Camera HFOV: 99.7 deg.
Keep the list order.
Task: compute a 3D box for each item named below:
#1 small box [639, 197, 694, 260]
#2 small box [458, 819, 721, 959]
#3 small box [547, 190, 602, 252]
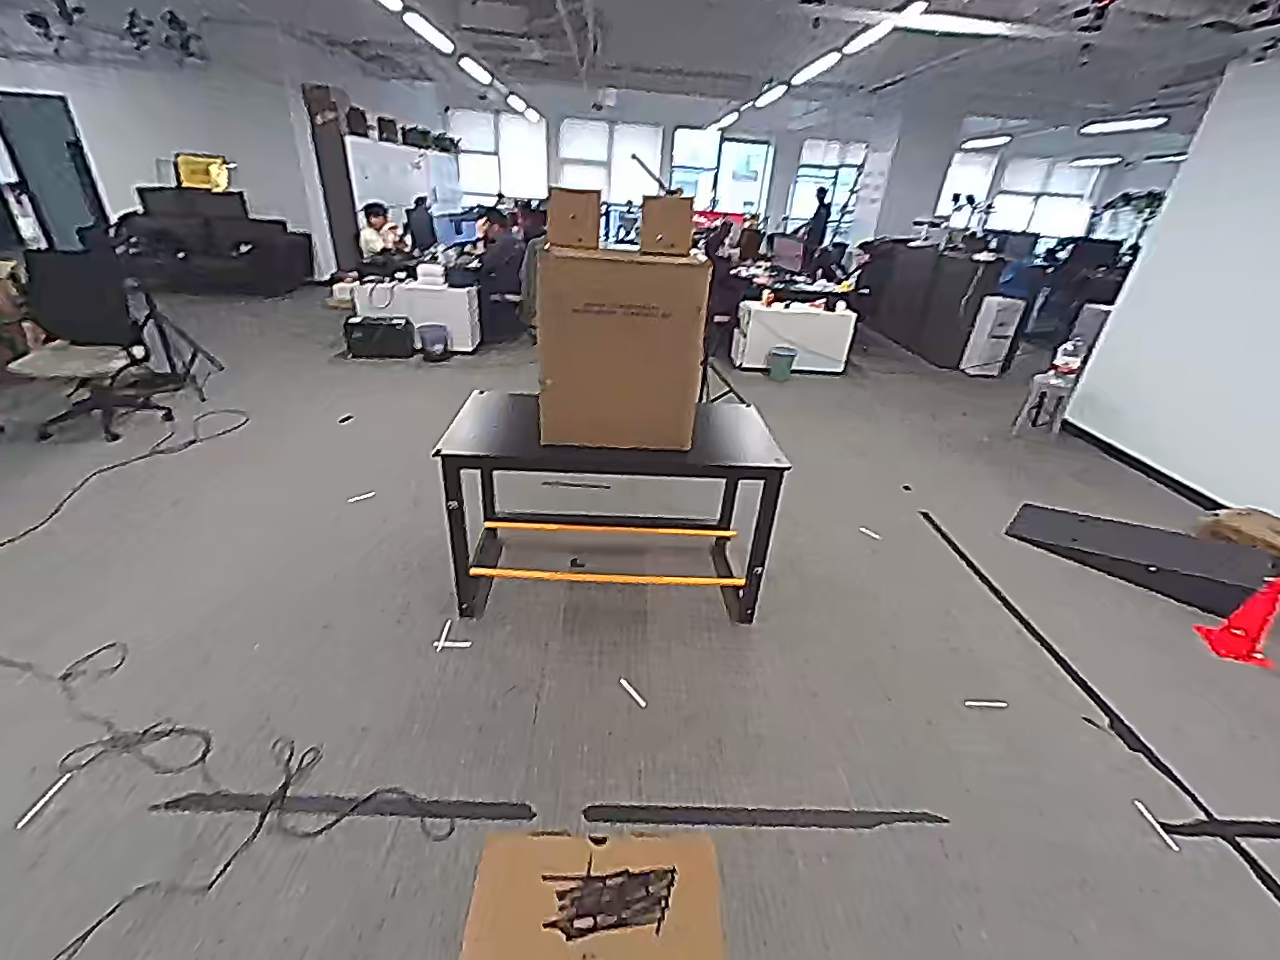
[{"bbox_3d":[0.082,-0.820,1.761,0.168,0.176,0.179,1,28,-1],"label":"small box"},{"bbox_3d":[-0.031,0.367,0.373,0.168,0.176,0.179,-1,34,0],"label":"small box"},{"bbox_3d":[-0.213,-0.853,1.778,0.168,0.176,0.179,3,28,-4],"label":"small box"}]
